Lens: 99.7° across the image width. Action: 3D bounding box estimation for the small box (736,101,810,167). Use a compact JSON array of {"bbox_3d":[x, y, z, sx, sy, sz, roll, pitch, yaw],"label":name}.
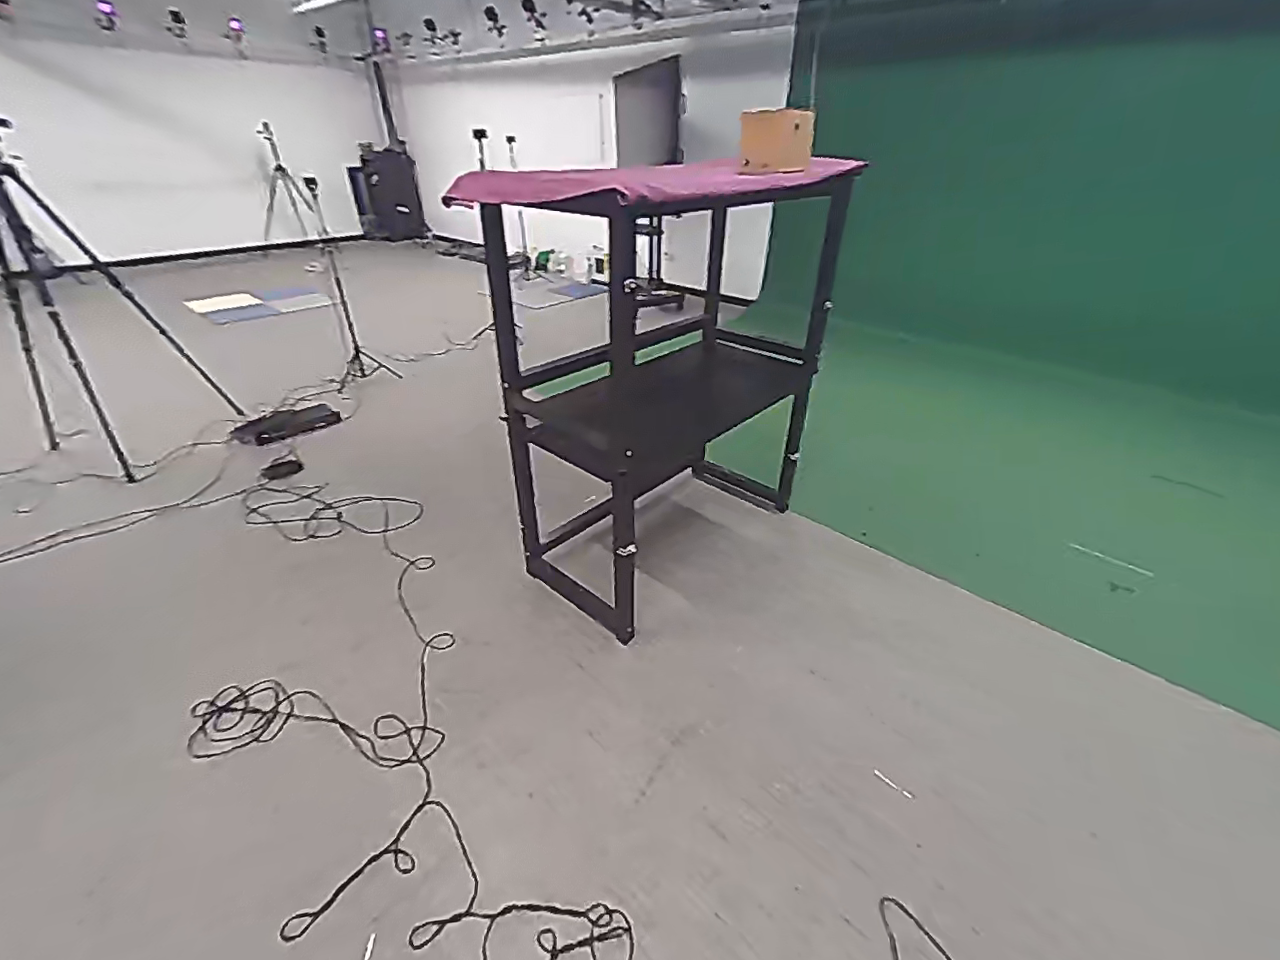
[{"bbox_3d":[0.423,-1.103,1.733,0.168,0.176,0.179,25,41,37],"label":"small box"}]
